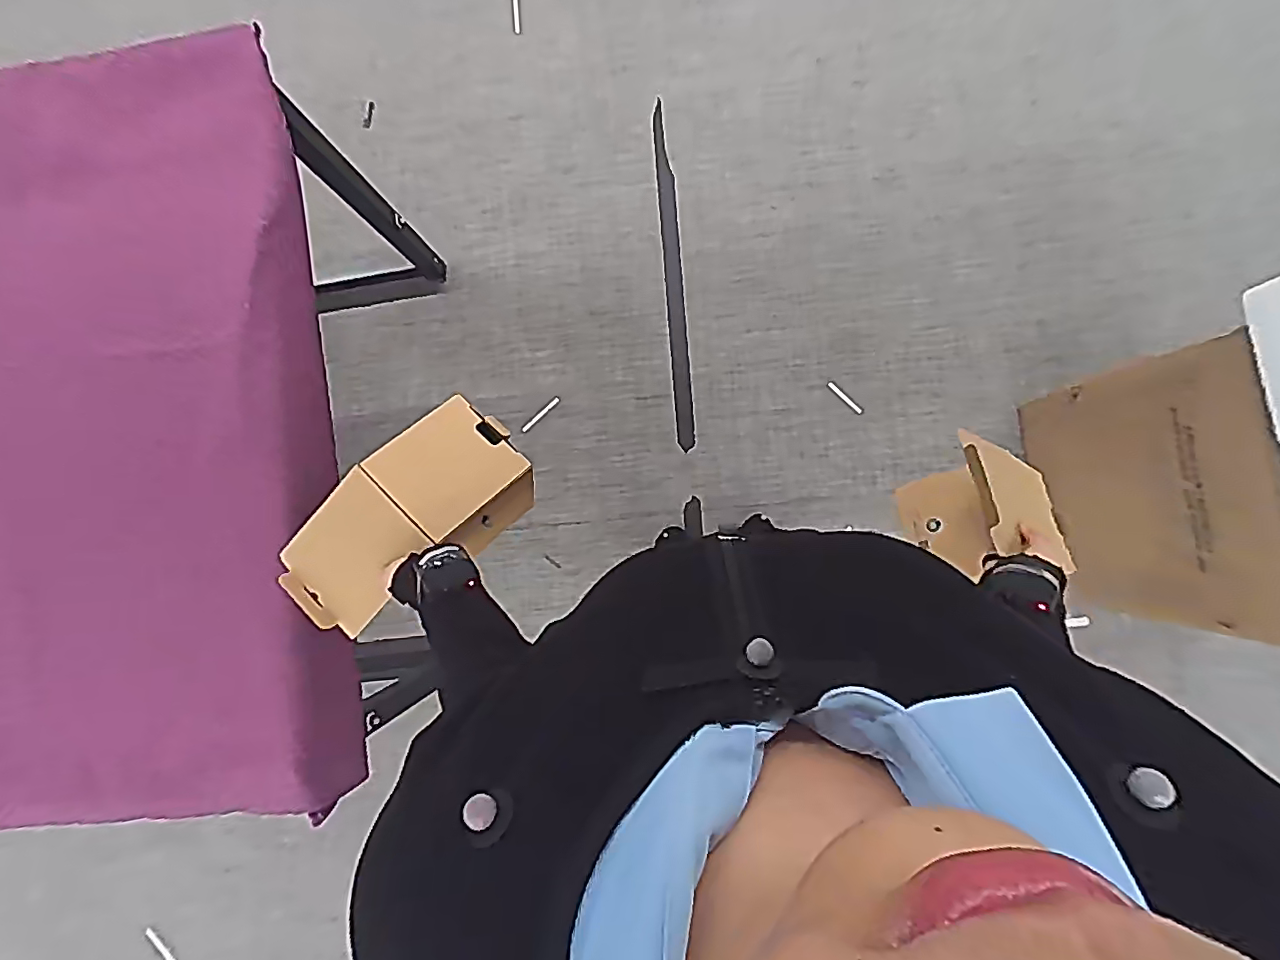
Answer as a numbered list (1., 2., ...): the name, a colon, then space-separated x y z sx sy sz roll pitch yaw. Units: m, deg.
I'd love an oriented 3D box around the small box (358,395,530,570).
1. small box: -0.282 0.012 0.825 0.168 0.176 0.179 43 67 9
